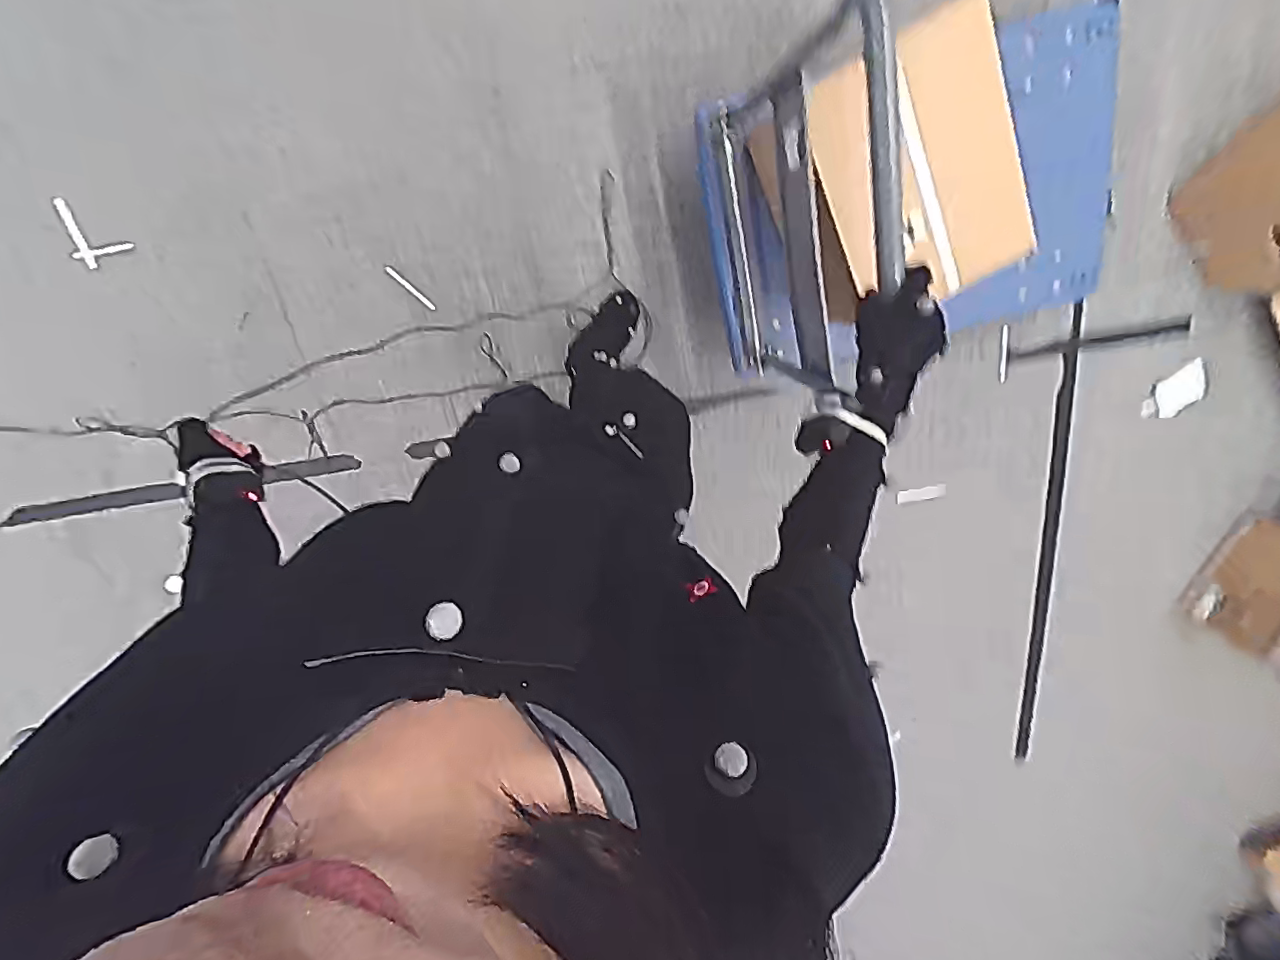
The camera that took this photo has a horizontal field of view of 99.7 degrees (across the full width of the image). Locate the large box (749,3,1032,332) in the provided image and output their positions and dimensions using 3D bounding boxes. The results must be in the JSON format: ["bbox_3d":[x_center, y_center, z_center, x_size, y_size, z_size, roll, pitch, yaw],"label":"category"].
[{"bbox_3d":[0.456,-0.550,1.037,0.320,0.320,0.408,-26,111,7],"label":"large box"}]
